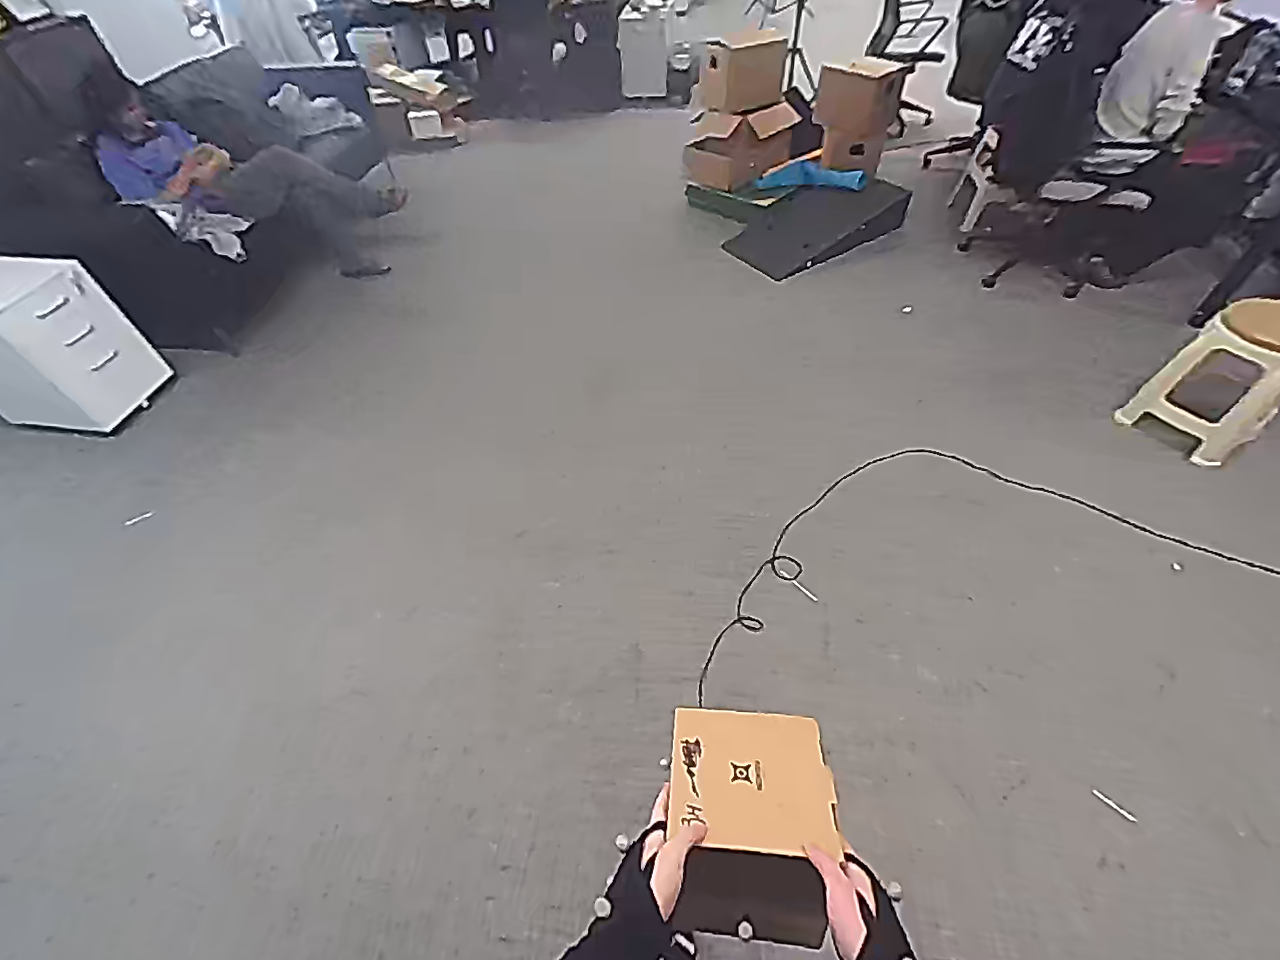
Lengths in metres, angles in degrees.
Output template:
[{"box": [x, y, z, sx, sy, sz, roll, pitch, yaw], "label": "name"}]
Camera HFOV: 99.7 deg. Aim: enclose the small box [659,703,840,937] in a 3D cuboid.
[{"box": [0.118, 0.397, 0.640, 0.179, 0.176, 0.168, 3, 25, 6], "label": "small box"}]
